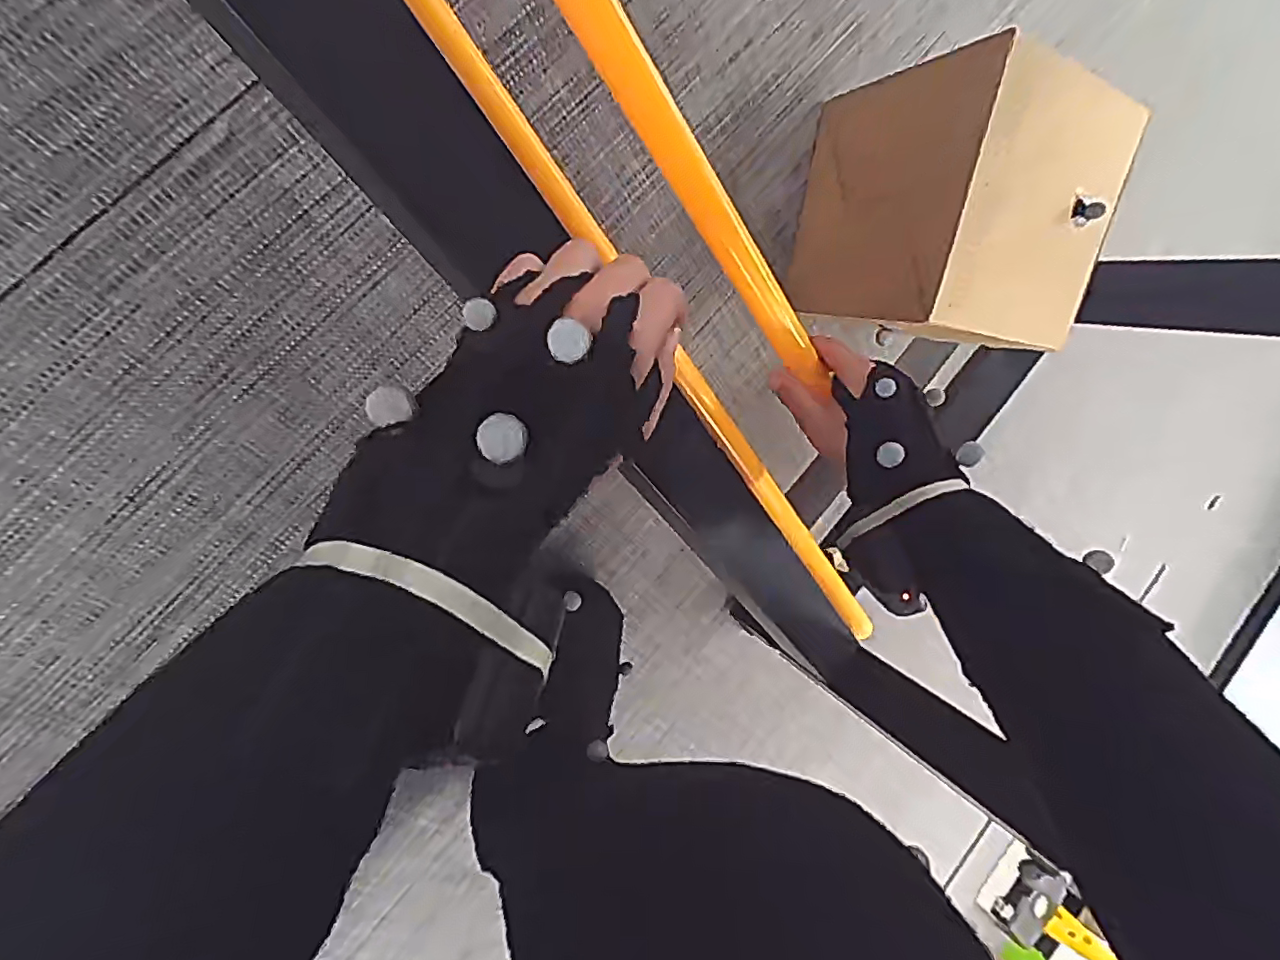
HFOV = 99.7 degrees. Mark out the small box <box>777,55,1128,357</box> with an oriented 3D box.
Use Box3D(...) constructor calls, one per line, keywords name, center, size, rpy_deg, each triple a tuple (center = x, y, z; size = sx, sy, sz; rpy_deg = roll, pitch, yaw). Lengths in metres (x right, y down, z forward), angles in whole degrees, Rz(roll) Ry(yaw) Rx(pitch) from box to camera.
Box3D(name="small box", center=(0.244, -0.208, 0.453), size=(0.176, 0.168, 0.179), rpy_deg=(2, 107, -26))
